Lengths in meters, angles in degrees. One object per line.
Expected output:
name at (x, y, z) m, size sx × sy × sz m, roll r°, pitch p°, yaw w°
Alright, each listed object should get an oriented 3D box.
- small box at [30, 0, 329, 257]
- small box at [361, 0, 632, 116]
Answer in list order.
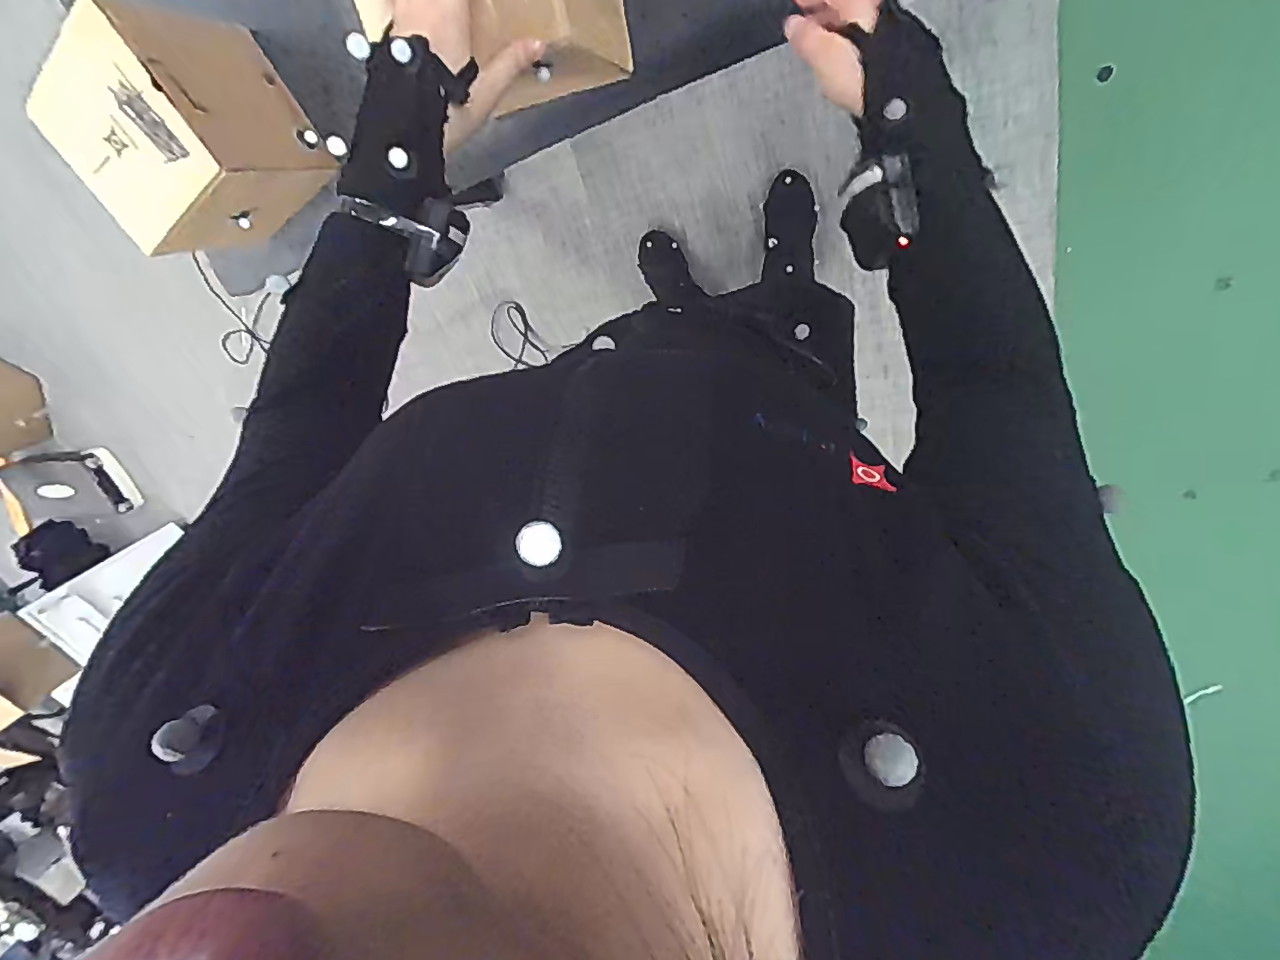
small box at (-0.498, -0.384, 0.613) m, size 0.179 × 0.176 × 0.168 m, roll -21°, pitch 113°, yaw 27°
small box at (-0.124, -0.436, 0.470) m, size 0.179 × 0.176 × 0.168 m, roll -2°, pitch 118°, yaw 19°
